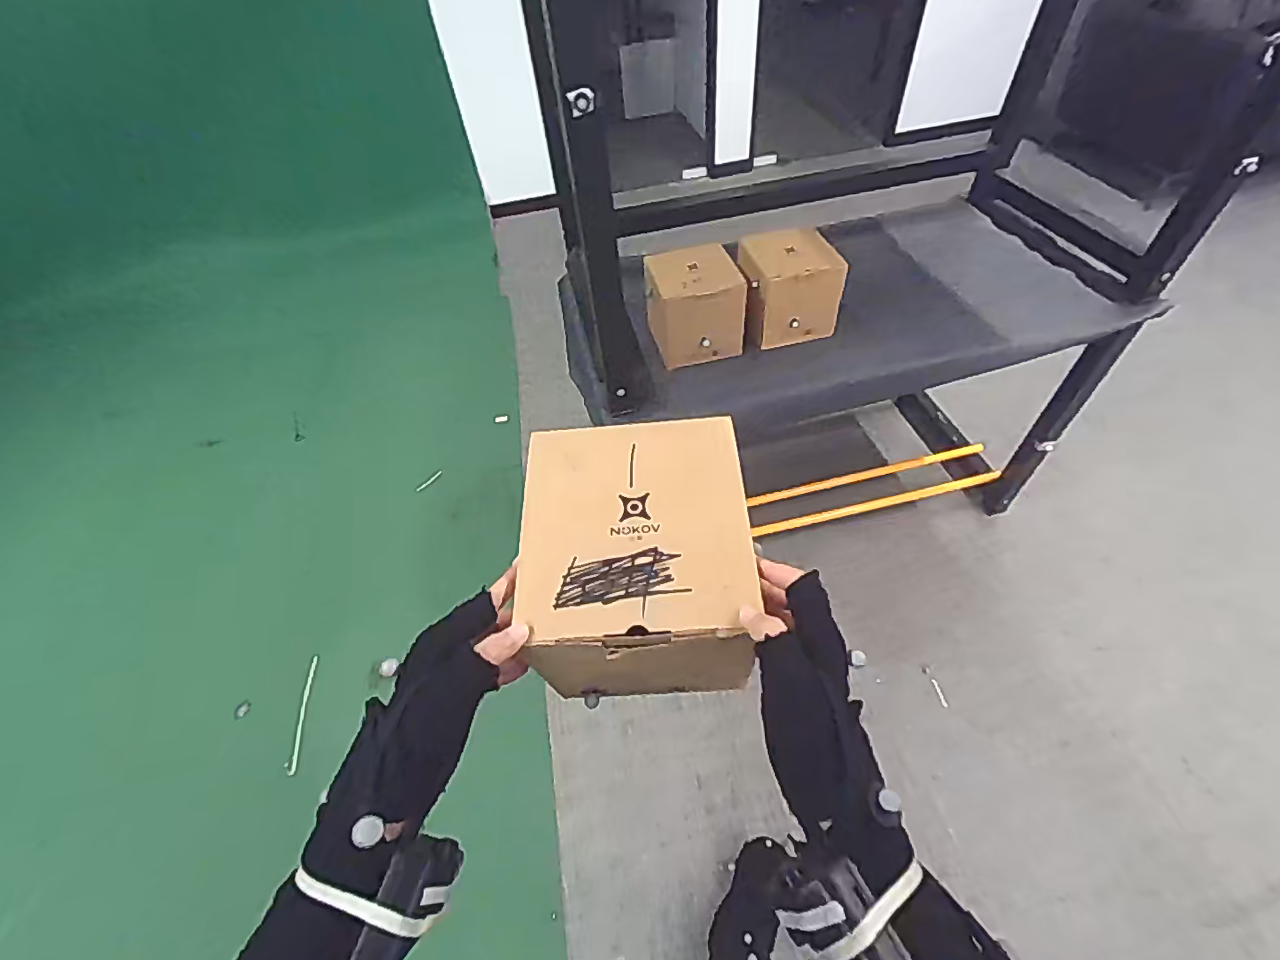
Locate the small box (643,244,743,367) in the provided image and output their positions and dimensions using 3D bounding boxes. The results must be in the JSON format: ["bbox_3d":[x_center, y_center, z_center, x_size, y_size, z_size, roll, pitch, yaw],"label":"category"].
[{"bbox_3d":[0.107,-0.365,1.136,0.168,0.176,0.179,-13,50,-4],"label":"small box"}]

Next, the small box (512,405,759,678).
[{"bbox_3d":[0.002,0.061,0.459,0.168,0.176,0.179,-4,55,3],"label":"small box"}]
